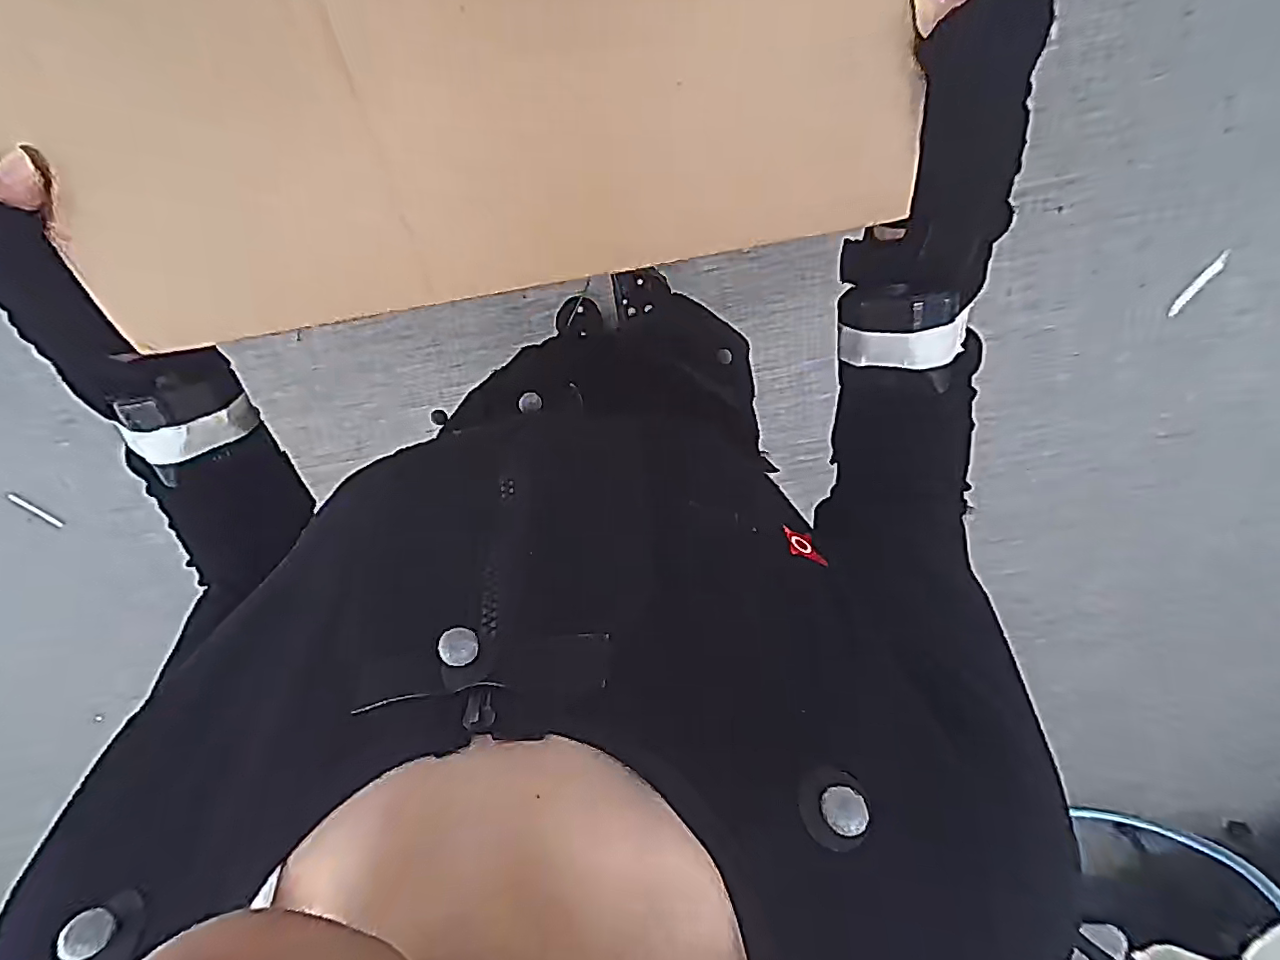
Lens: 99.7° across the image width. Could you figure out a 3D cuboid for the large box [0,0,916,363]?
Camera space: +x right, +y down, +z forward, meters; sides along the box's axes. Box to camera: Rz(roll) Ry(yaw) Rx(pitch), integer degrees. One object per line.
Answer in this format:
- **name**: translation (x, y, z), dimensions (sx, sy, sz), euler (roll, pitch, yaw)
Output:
- **large box**: translation (-0.096, -0.307, 0.317), dimensions (0.408, 0.320, 0.320), euler (-9, 126, 4)
